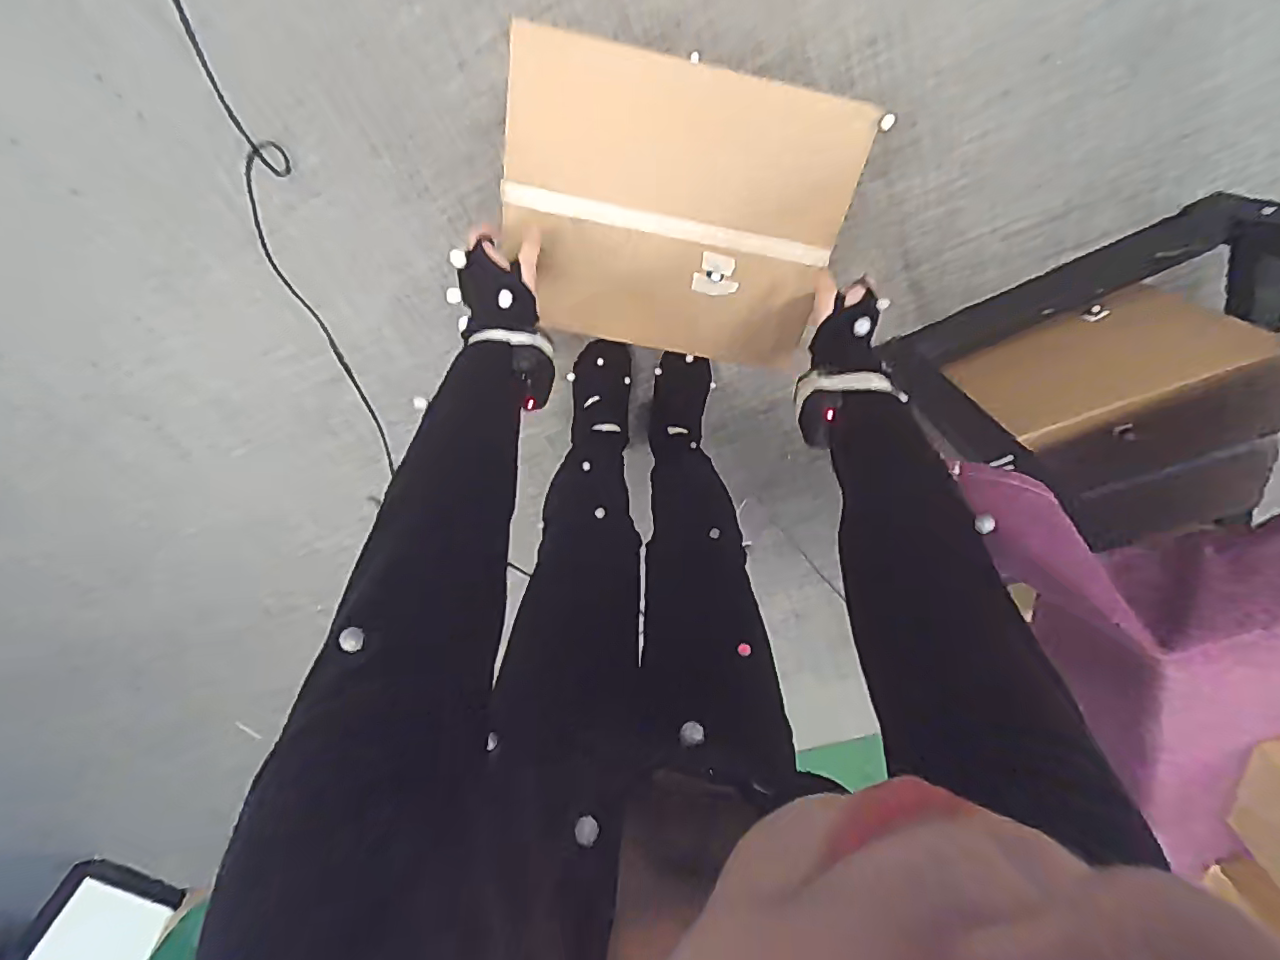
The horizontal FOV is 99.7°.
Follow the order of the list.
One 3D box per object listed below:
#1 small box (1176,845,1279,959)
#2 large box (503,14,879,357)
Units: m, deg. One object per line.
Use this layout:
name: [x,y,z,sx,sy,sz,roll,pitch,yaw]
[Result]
small box: [0.805,0.546,0.632,0.179,0.176,0.168,-15,124,12]
large box: [0.036,-0.405,0.770,0.408,0.320,0.320,9,126,-7]
